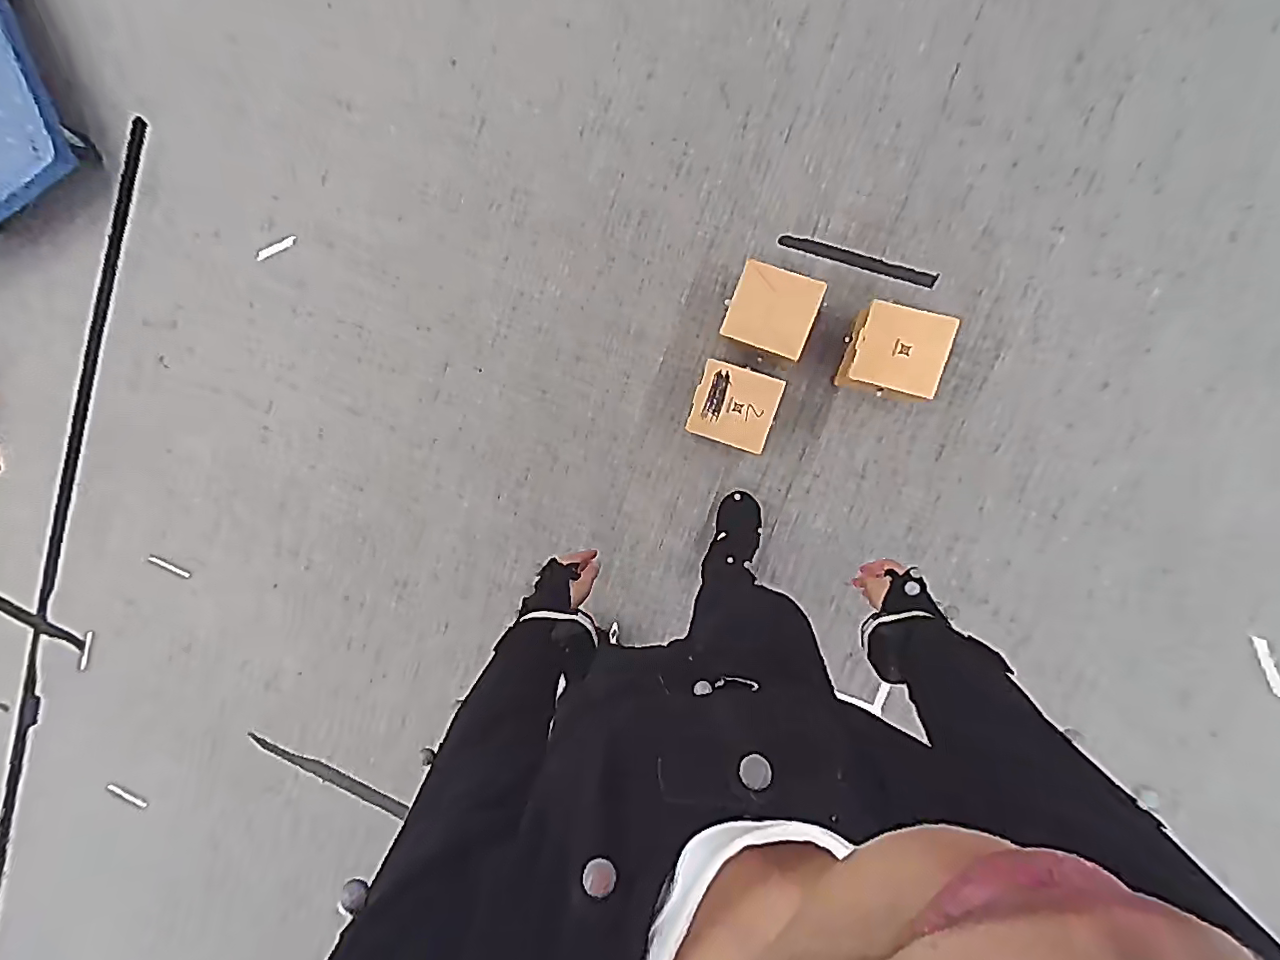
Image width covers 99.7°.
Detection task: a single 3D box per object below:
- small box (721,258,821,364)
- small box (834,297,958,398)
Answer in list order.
[{"bbox_3d":[0.290,-0.369,1.203,0.179,0.176,0.168,22,98,7],"label":"small box"},{"bbox_3d":[0.543,-0.279,1.173,0.179,0.176,0.168,17,98,9],"label":"small box"}]
